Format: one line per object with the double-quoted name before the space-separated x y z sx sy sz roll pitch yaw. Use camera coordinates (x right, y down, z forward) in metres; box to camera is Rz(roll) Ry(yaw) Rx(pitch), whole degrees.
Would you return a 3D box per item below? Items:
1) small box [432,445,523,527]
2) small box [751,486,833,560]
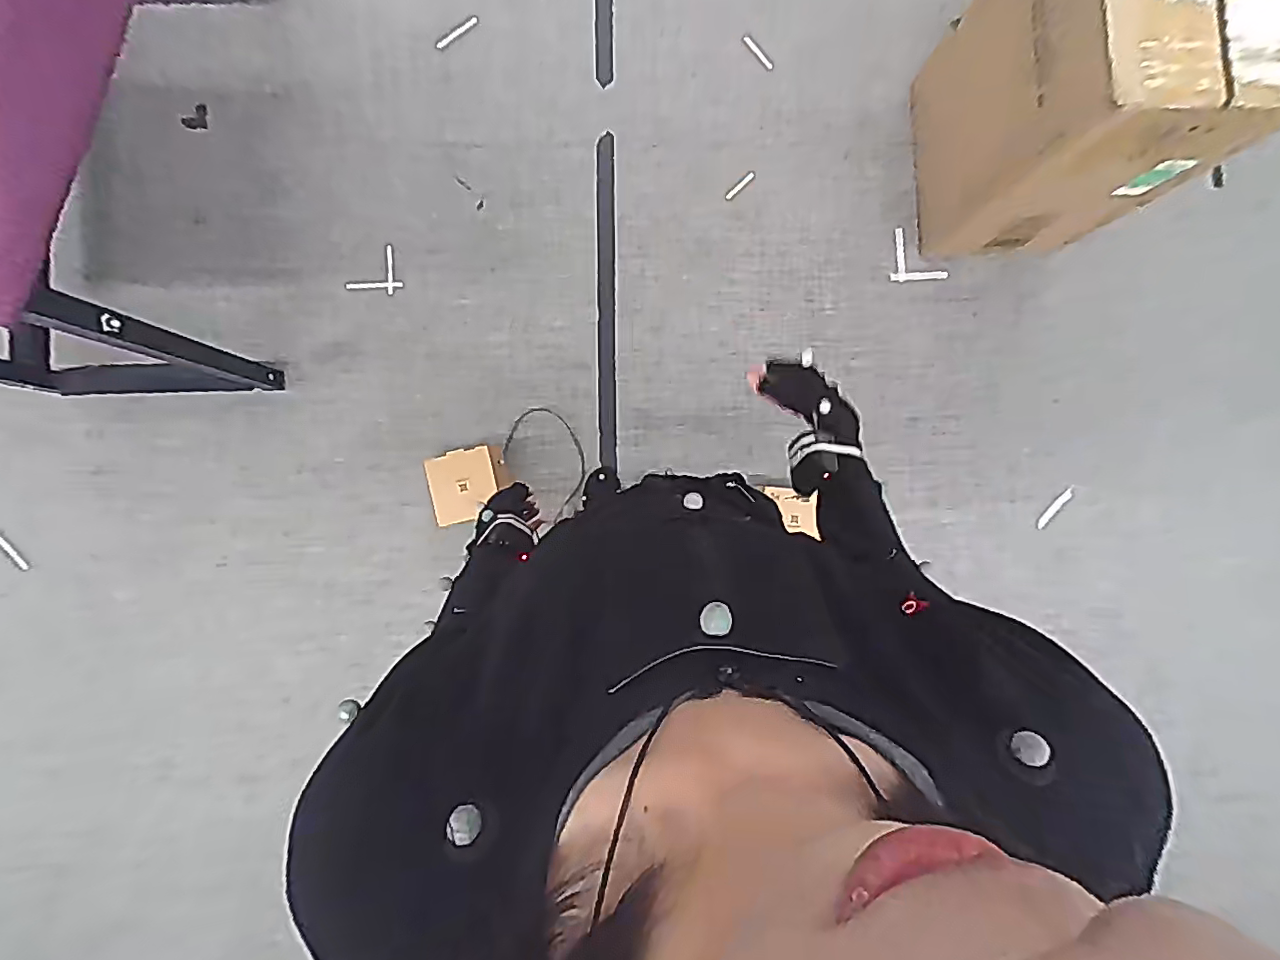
"small box" -0.422 0.017 1.429 0.168 0.176 0.179 -14 90 1
"small box" 0.403 0.111 1.458 0.168 0.176 0.179 5 89 -2
